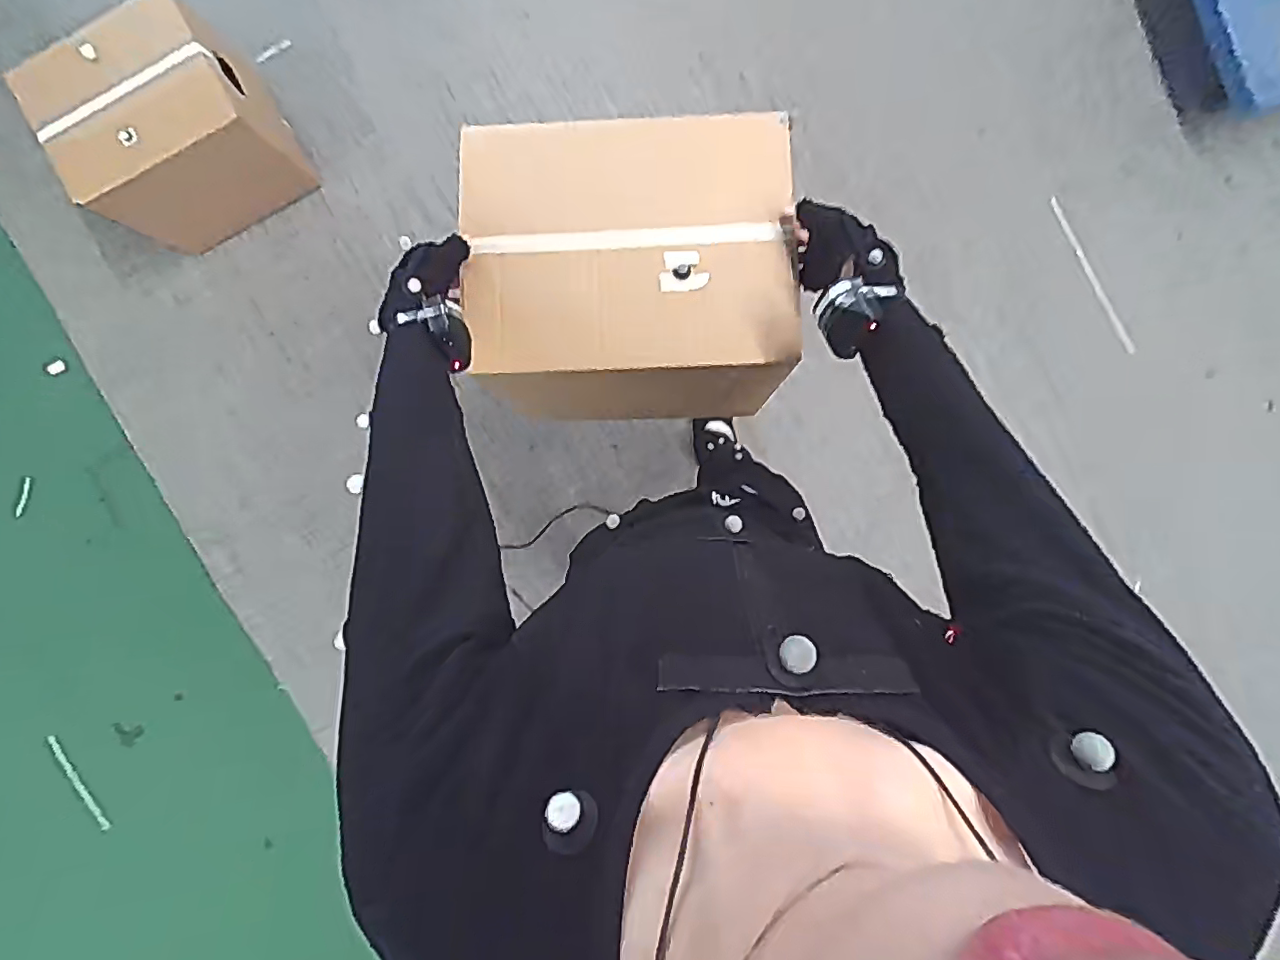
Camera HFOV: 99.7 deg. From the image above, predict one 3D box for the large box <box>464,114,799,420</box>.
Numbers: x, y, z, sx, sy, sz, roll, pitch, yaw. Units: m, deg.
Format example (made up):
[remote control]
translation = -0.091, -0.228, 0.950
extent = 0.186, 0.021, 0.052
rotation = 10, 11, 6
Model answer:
[large box]
translation = -0.016, -0.280, 0.805
extent = 0.408, 0.320, 0.320
rotation = -2, 85, 0
